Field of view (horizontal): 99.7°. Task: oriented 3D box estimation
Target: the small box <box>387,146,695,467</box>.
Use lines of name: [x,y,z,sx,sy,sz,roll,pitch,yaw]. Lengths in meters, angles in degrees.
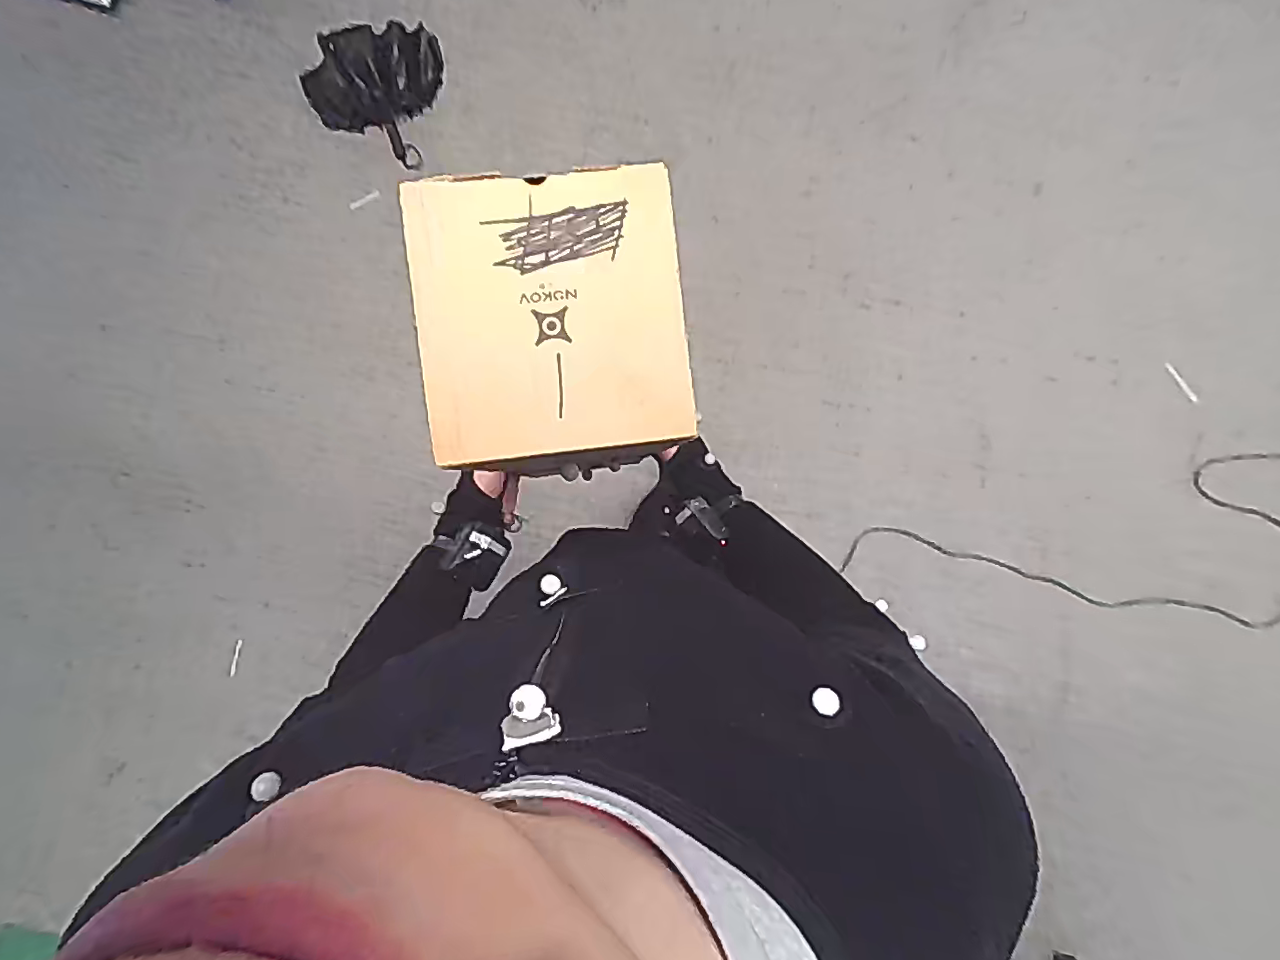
small box: [-0.063,-0.105,0.394,0.168,0.176,0.179,-6,91,-5]
